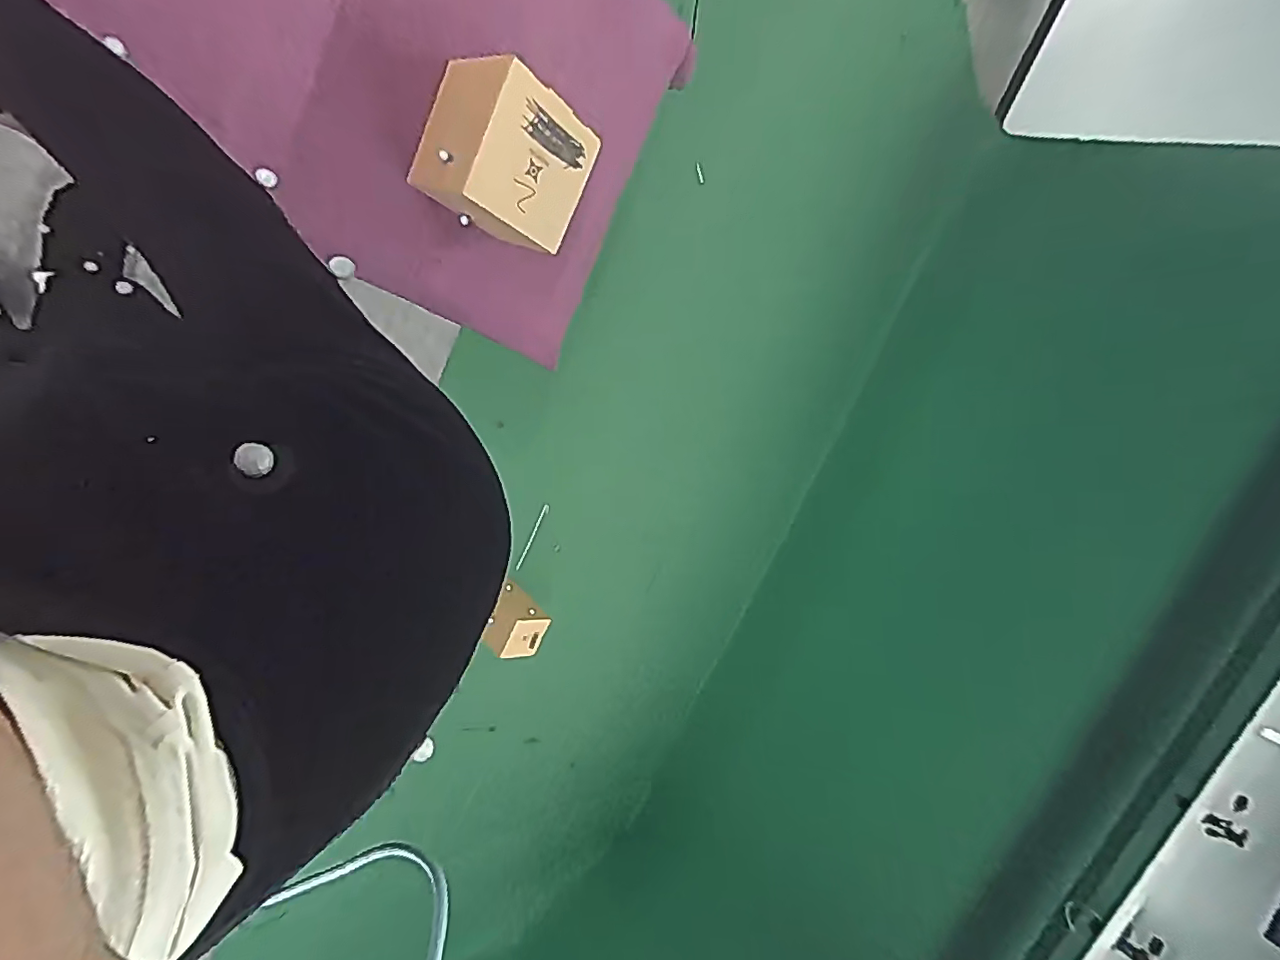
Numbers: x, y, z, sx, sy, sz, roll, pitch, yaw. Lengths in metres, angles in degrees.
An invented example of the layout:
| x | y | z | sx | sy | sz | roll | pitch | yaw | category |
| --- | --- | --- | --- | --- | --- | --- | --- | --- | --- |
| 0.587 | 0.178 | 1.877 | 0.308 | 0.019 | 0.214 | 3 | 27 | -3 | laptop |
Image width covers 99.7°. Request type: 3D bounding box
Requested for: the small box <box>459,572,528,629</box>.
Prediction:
| x | y | z | sx | sy | sz | roll | pitch | yaw | category |
| --- | --- | --- | --- | --- | --- | --- | --- | --- | --- |
| -0.594 | 0.484 | 2.186 | 0.179 | 0.176 | 0.168 | 16 | 101 | -53 | small box |

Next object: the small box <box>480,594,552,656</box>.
| x | y | z | sx | sy | sz | roll | pitch | yaw | category |
| --- | --- | --- | --- | --- | --- | --- | --- | --- | --- |
| -0.481 | 0.553 | 2.089 | 0.179 | 0.176 | 0.168 | 16 | 102 | -52 | small box |
